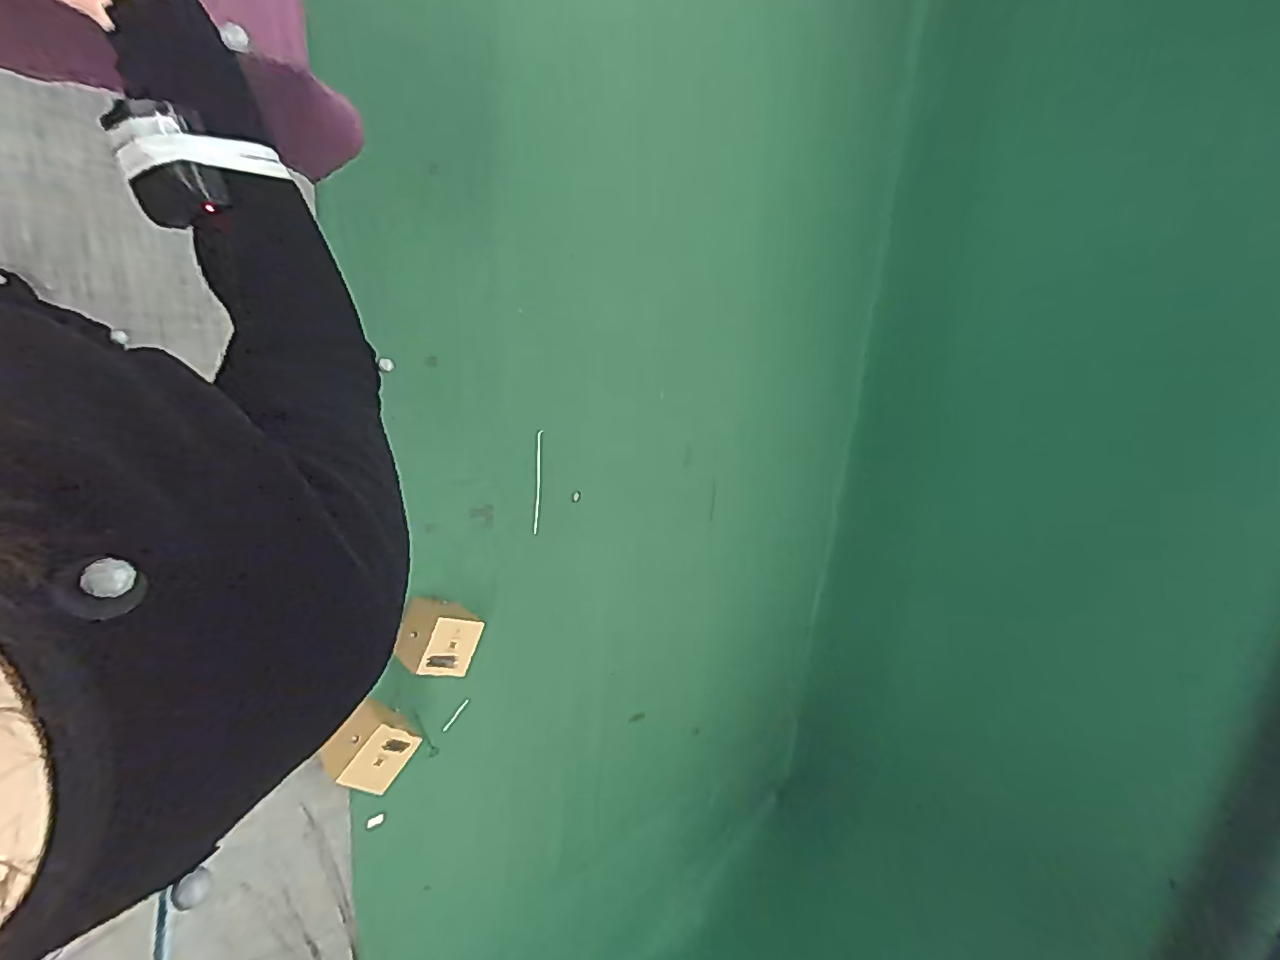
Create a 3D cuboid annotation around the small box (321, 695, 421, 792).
[{"bbox_3d":[-0.785,0.761,1.572,0.179,0.176,0.168,-53,135,-19],"label":"small box"}]
